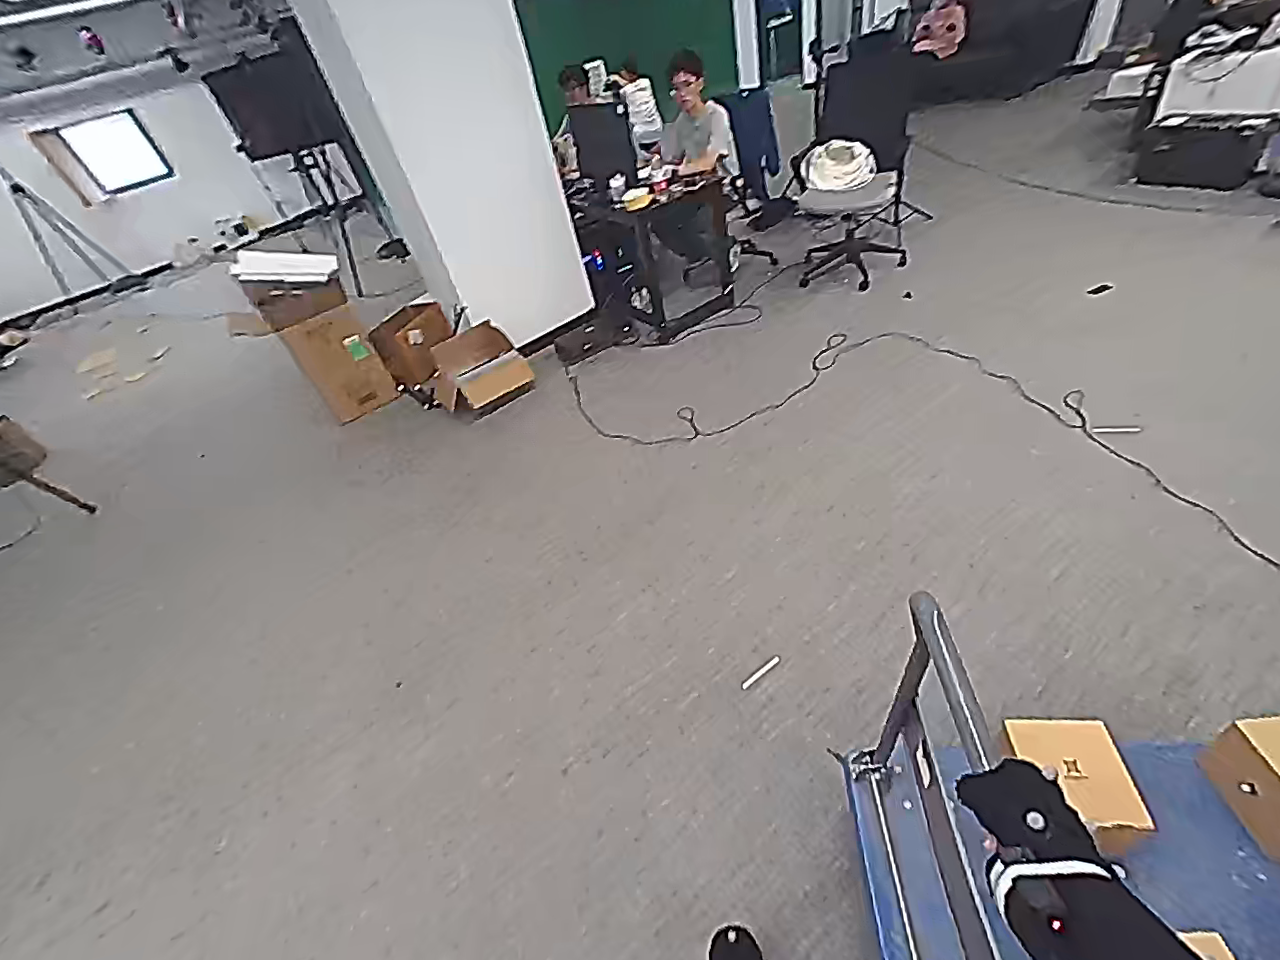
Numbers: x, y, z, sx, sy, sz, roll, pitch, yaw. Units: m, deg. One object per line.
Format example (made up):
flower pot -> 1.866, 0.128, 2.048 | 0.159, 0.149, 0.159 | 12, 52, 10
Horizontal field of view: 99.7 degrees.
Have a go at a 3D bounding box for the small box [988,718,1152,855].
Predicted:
small box -> 0.779, 0.568, 1.006 | 0.168, 0.176, 0.179 | -5, 43, 13

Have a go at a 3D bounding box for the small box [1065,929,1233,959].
small box -> 0.761, 0.775, 0.776 | 0.168, 0.176, 0.179 | -8, 41, 9
